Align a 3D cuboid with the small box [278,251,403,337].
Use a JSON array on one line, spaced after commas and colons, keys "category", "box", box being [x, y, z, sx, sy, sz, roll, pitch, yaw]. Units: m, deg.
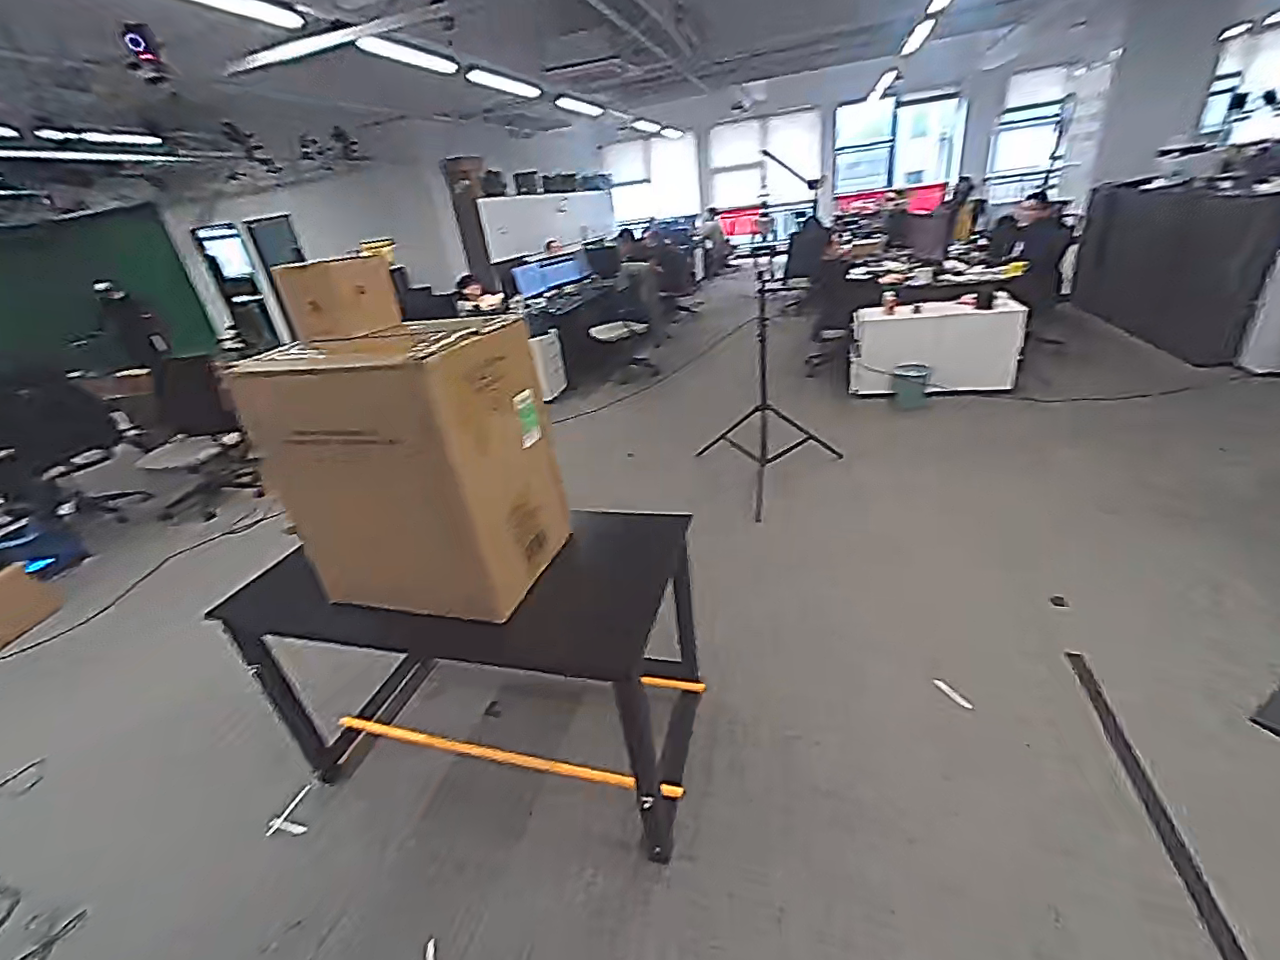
[{"category": "small box", "box": [-0.700, -0.439, 1.289, 0.168, 0.176, 0.179, 3, 28, 17]}]
